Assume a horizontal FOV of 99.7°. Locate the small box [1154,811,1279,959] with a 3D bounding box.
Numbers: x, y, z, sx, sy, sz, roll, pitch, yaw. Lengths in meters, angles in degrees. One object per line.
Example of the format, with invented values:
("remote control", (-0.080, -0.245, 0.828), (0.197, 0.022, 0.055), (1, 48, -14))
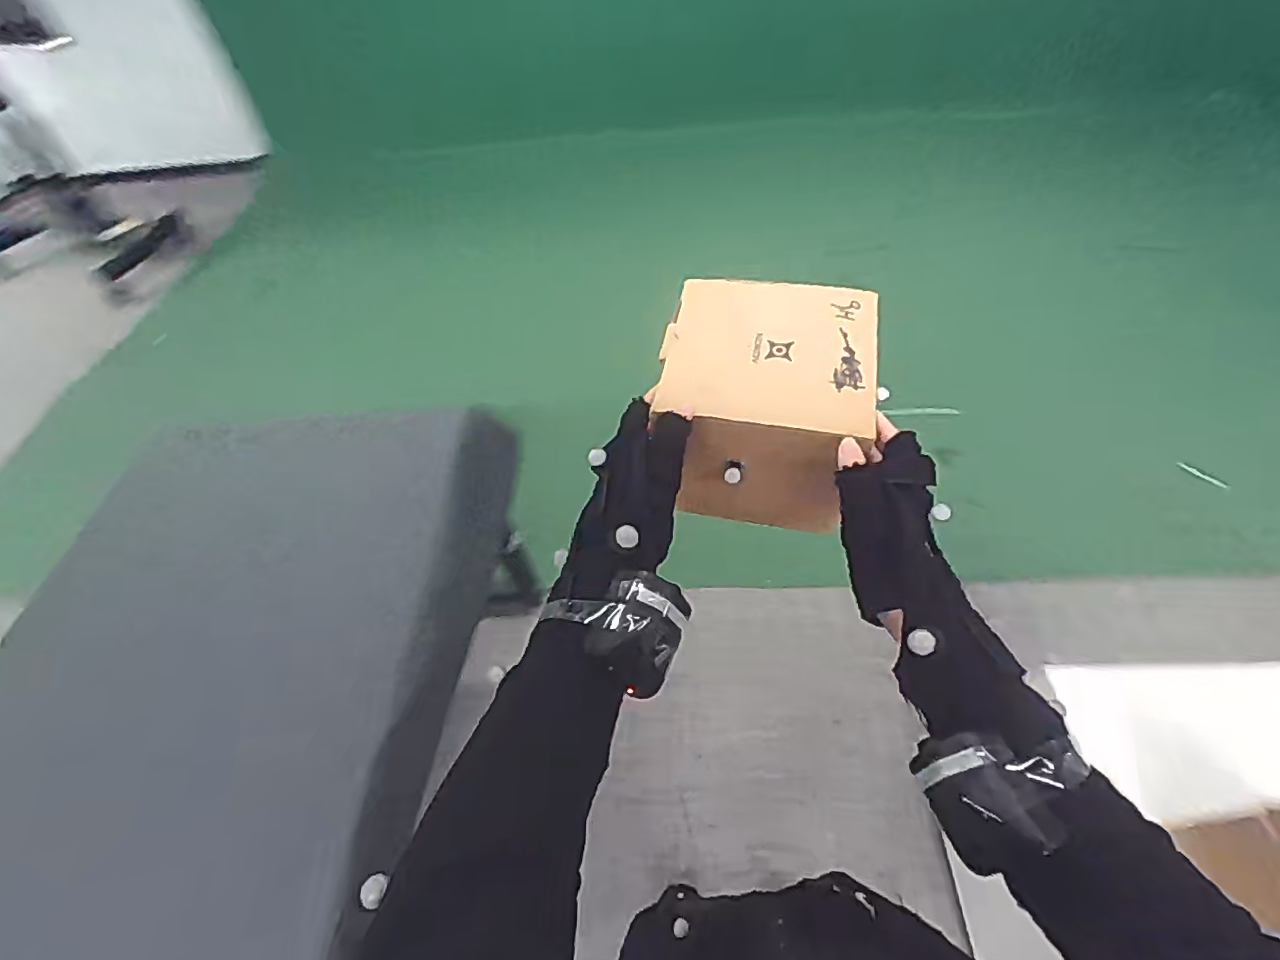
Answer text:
("small box", (0.688, 0.431, 0.533), (0.179, 0.176, 0.168), (-4, 52, 5))
